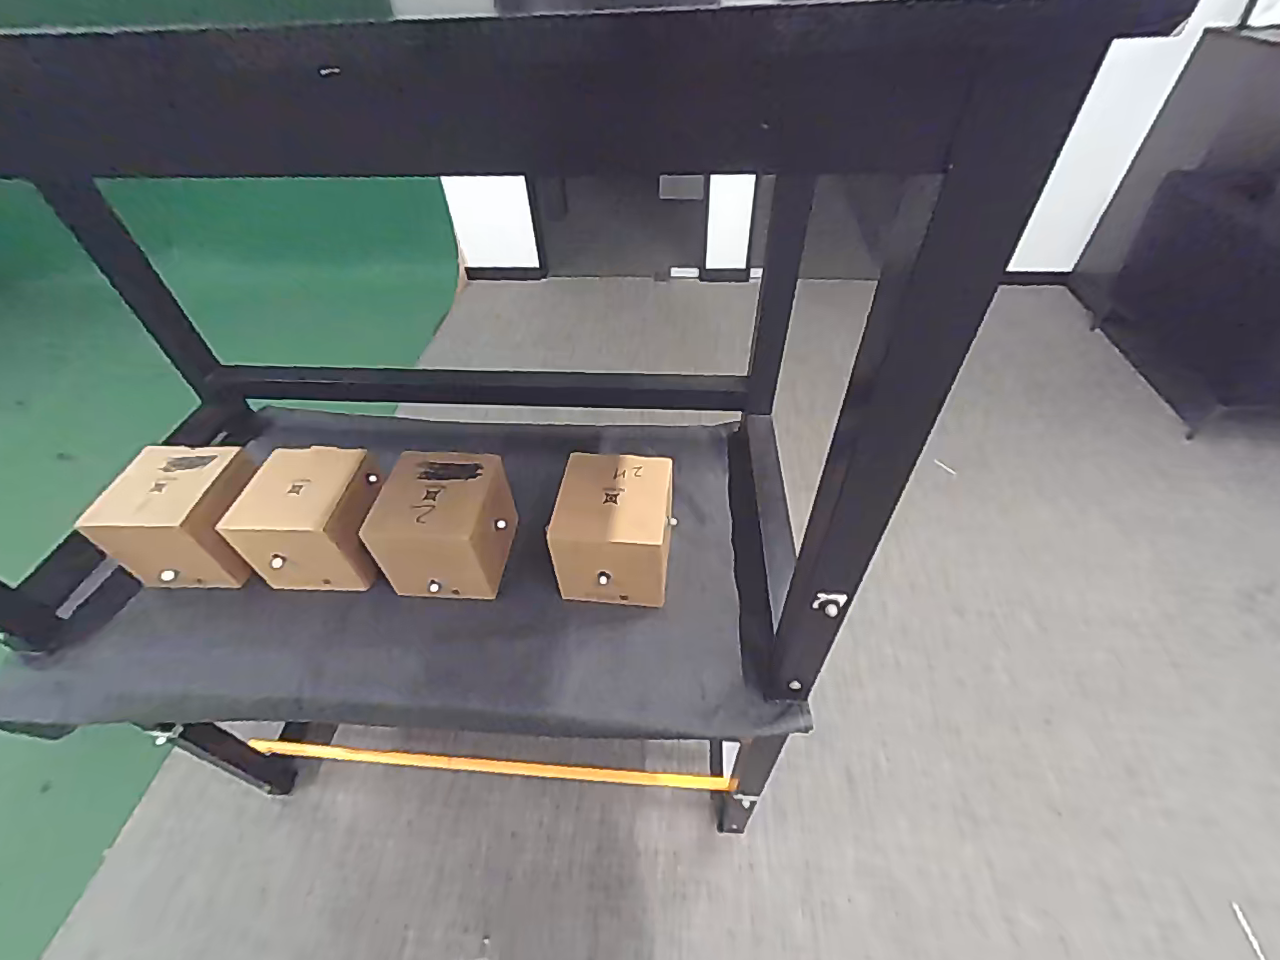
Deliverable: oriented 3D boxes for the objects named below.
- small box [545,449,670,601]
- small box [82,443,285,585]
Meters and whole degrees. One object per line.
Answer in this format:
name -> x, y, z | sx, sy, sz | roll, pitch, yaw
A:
small box -> -0.041, 0.074, 0.866 | 0.168, 0.176, 0.179 | 5, 47, 6
small box -> -0.748, 0.057, 0.918 | 0.168, 0.176, 0.179 | 0, 47, 3
